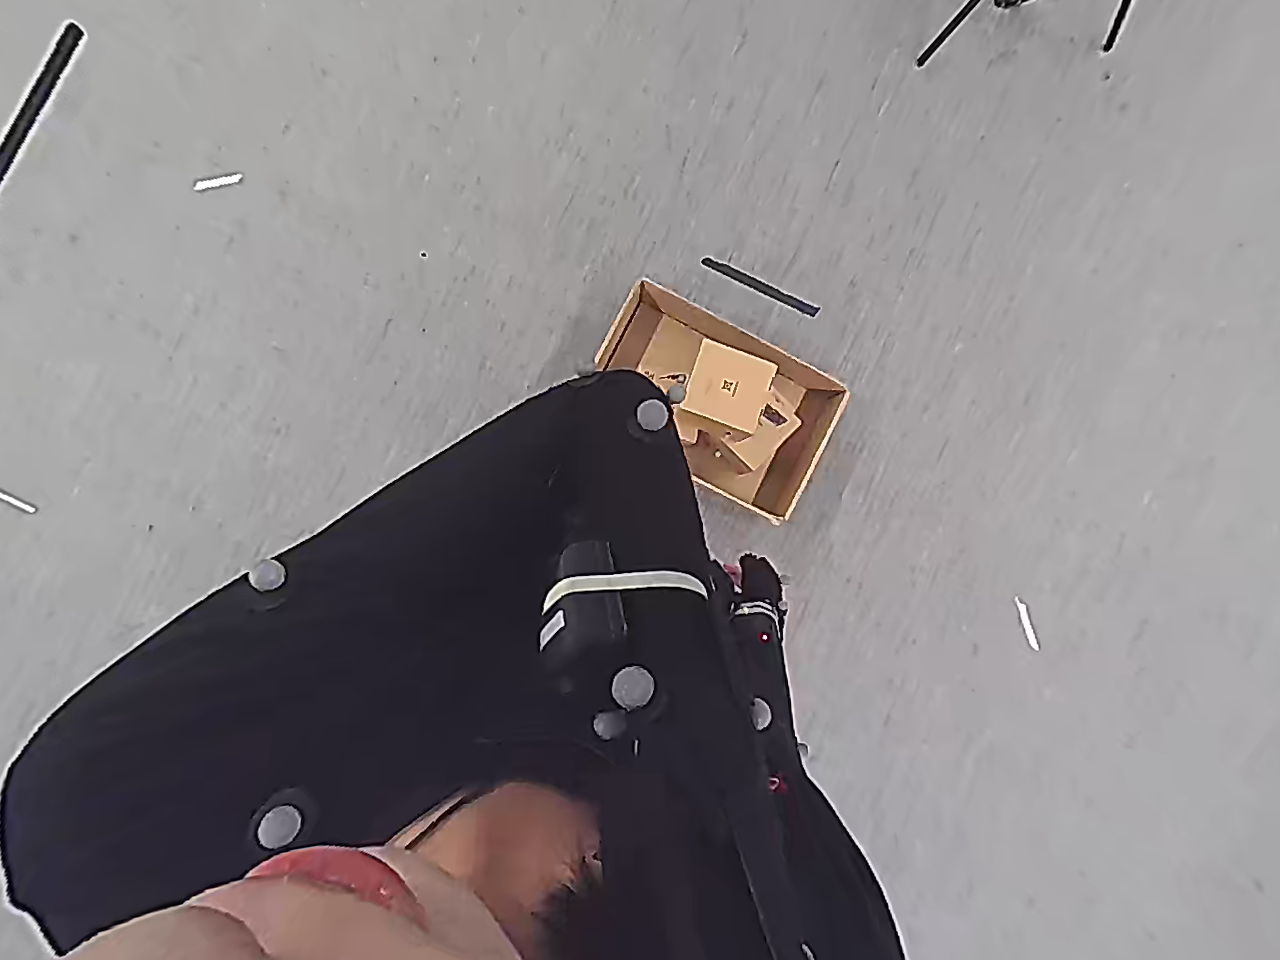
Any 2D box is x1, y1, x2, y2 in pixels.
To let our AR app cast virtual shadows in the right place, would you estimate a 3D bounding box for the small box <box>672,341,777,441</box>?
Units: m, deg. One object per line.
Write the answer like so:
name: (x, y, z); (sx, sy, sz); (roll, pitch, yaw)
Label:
small box: (0.186, -0.195, 1.243); (0.179, 0.176, 0.168); (19, 86, -2)
